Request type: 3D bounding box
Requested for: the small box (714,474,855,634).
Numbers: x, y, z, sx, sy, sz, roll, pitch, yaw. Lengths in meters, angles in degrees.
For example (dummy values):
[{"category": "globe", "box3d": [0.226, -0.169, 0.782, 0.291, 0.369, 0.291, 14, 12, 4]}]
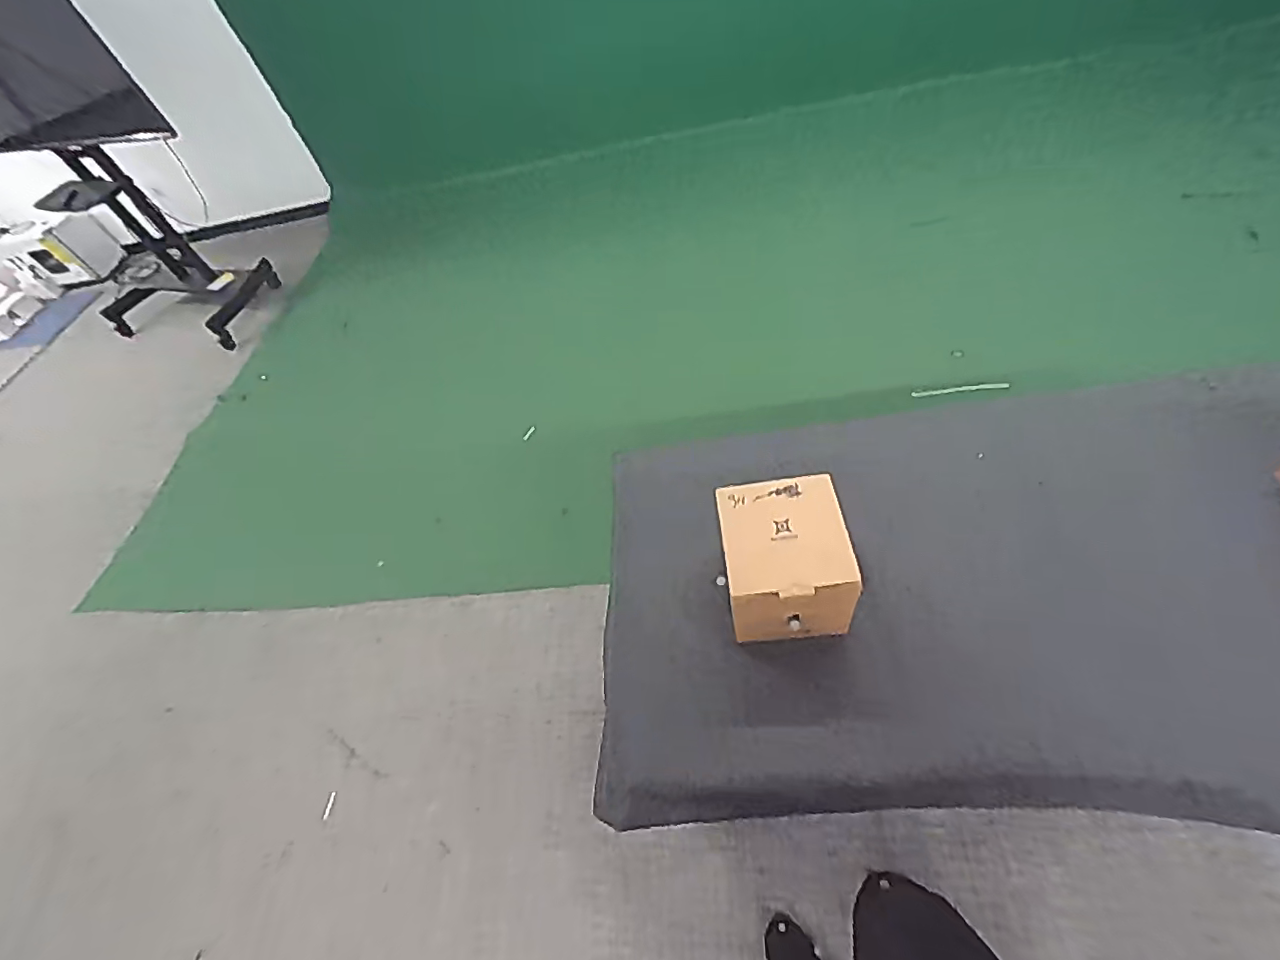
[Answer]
[{"category": "small box", "box3d": [0.205, 0.117, 0.798, 0.168, 0.176, 0.179, -8, 53, 7]}]
